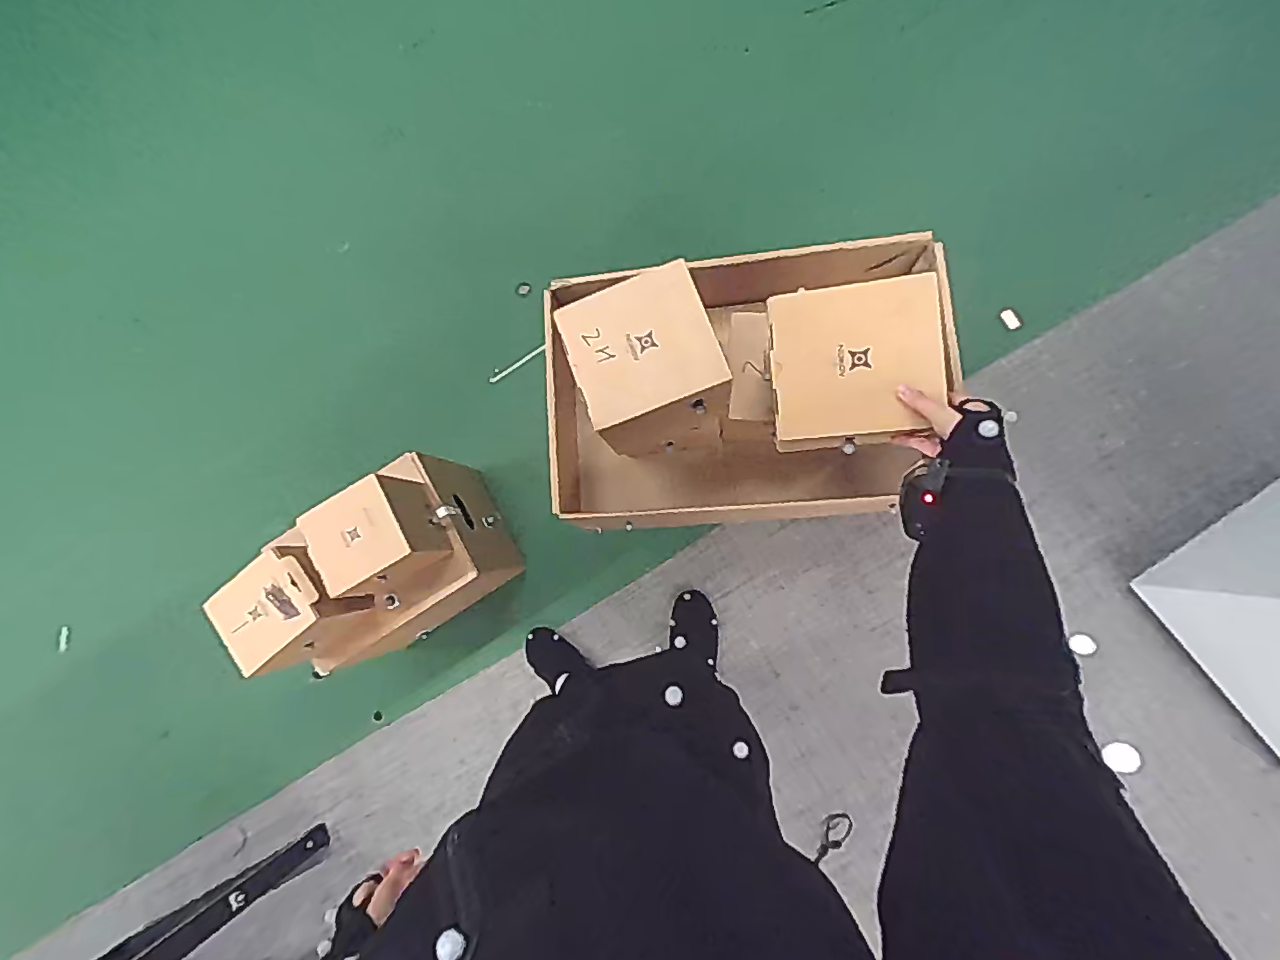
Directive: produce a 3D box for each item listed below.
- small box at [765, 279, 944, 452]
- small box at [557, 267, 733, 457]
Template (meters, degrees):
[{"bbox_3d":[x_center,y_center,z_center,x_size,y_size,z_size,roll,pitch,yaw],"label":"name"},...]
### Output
[{"bbox_3d":[0.250,-0.126,0.667,0.179,0.176,0.168,-5,88,15],"label":"small box"},{"bbox_3d":[0.012,-0.145,0.728,0.179,0.176,0.168,-21,79,5],"label":"small box"}]
